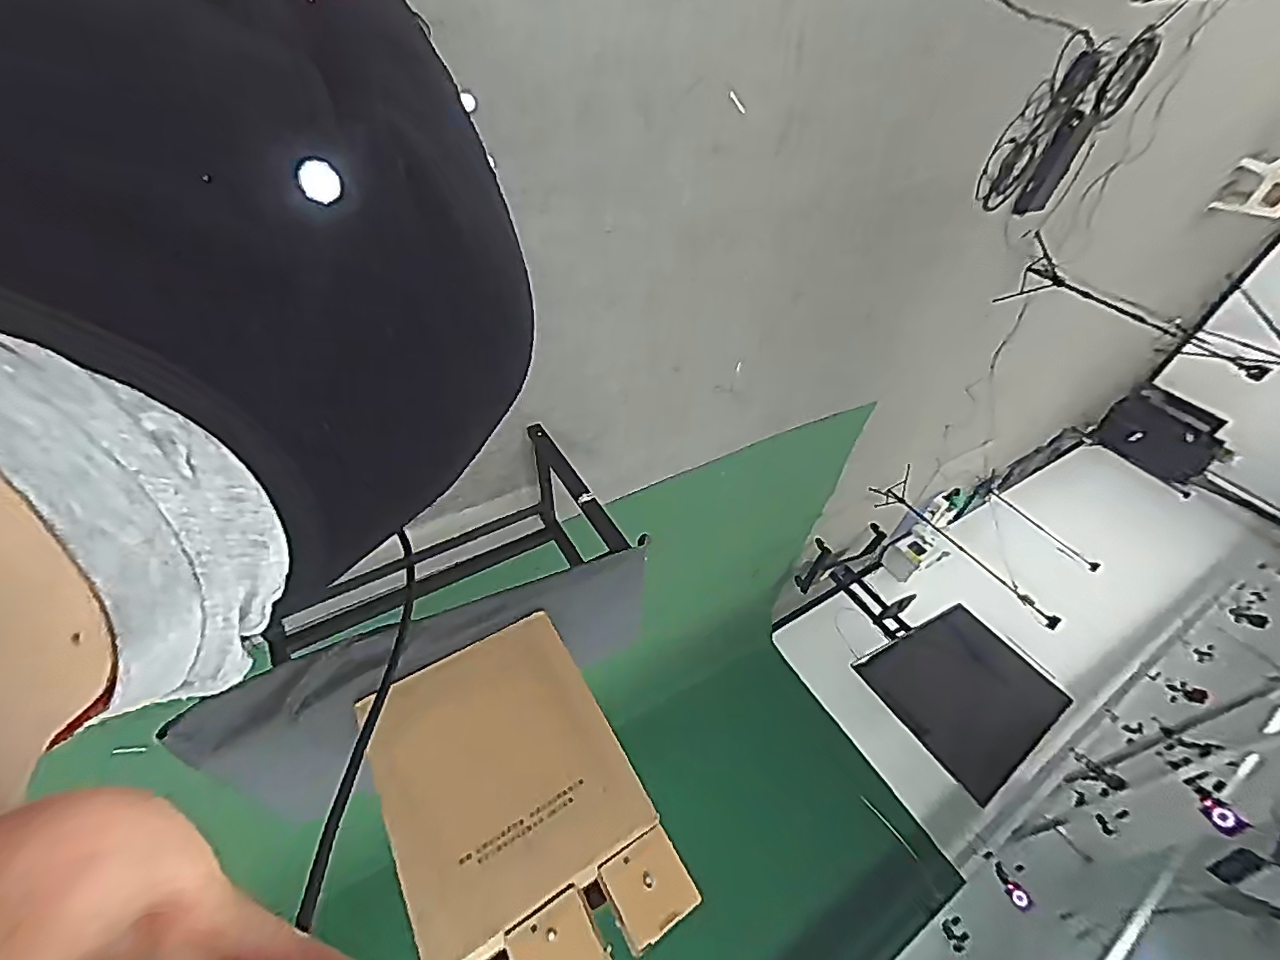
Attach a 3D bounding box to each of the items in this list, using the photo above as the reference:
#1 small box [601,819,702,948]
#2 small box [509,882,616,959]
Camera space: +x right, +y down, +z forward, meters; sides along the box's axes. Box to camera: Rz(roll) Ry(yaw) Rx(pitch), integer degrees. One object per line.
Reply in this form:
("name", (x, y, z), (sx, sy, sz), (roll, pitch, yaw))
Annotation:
("small box", (0.019, 0.920, 1.241), (0.168, 0.176, 0.179), (-24, 143, -25))
("small box", (-0.159, 0.995, 1.147), (0.168, 0.176, 0.179), (-26, 142, -20))
